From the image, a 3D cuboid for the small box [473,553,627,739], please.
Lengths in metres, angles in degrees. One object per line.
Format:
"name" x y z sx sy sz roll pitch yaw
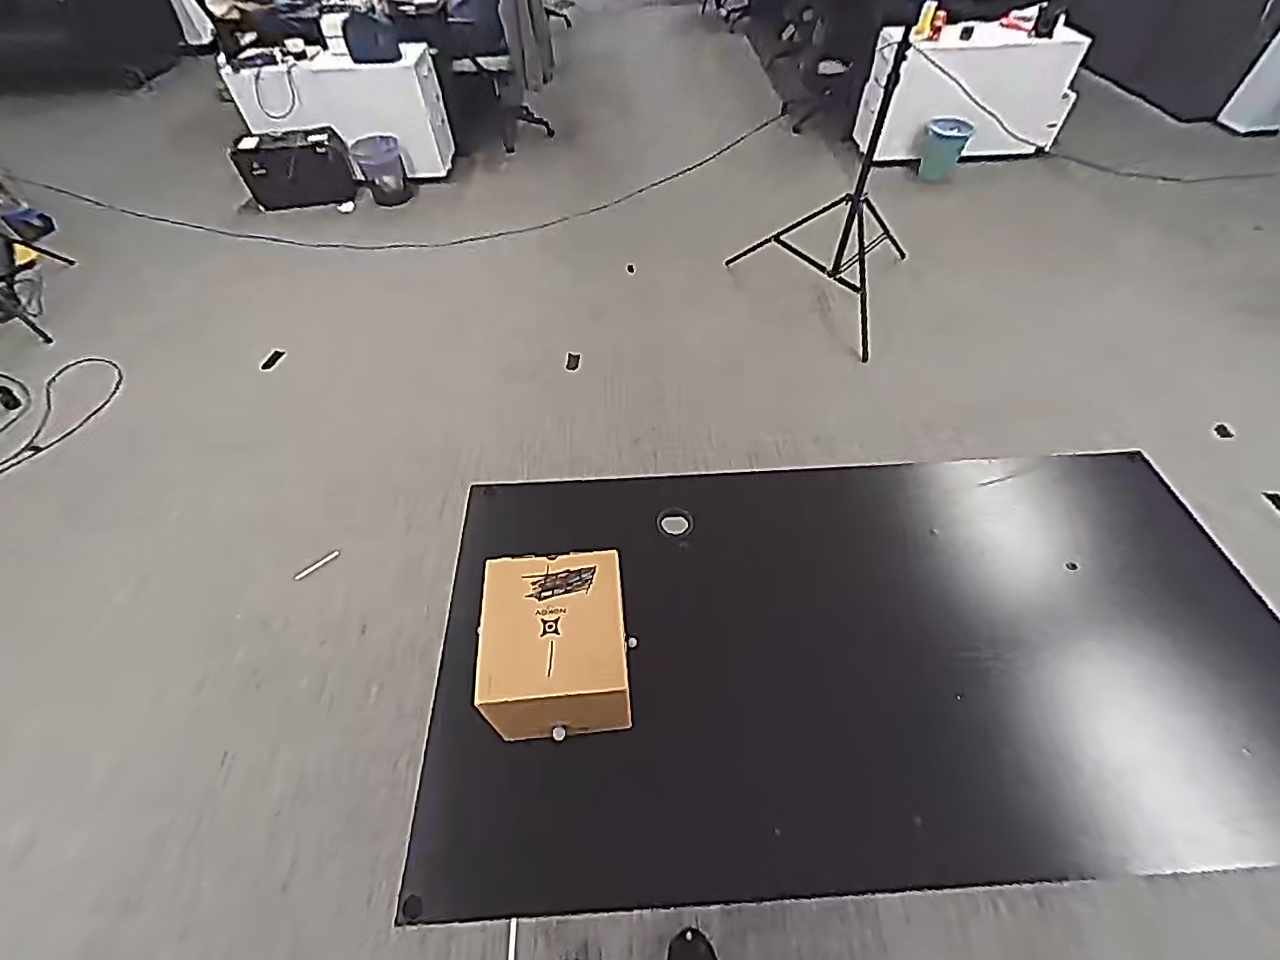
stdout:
"small box" -0.105 0.215 0.695 0.168 0.176 0.179 -5 53 -2
